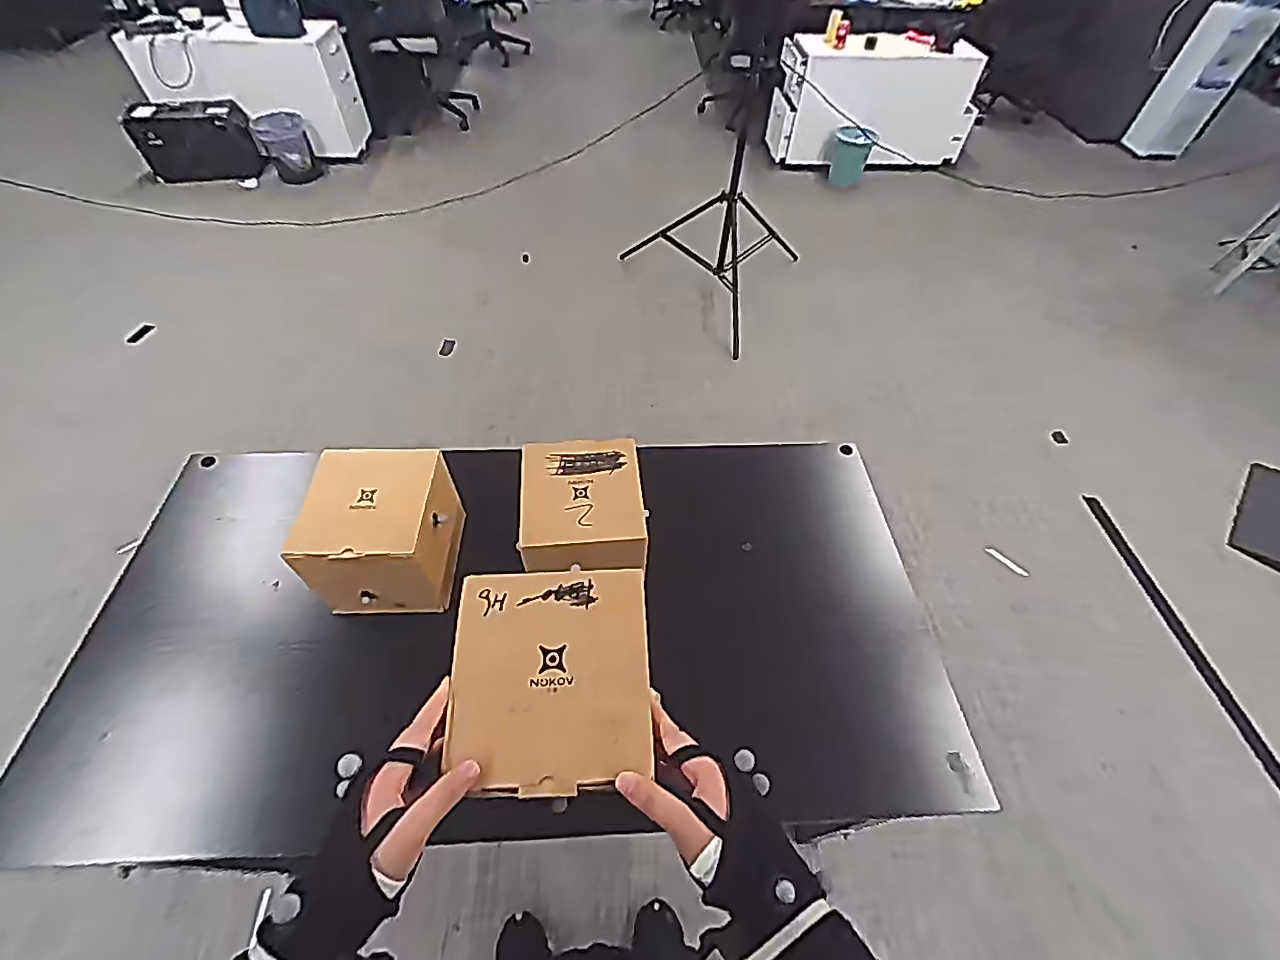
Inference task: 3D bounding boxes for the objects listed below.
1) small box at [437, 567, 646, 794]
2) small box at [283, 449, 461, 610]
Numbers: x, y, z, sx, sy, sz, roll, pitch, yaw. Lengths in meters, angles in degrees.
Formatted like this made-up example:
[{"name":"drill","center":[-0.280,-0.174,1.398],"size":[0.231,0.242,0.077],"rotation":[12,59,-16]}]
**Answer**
[{"name":"small box","center":[-0.079,0.198,0.524],"size":[0.168,0.176,0.179],"rotation":[-2,60,-3]},{"name":"small box","center":[-0.370,0.074,0.788],"size":[0.168,0.176,0.179],"rotation":[0,53,-3]}]
